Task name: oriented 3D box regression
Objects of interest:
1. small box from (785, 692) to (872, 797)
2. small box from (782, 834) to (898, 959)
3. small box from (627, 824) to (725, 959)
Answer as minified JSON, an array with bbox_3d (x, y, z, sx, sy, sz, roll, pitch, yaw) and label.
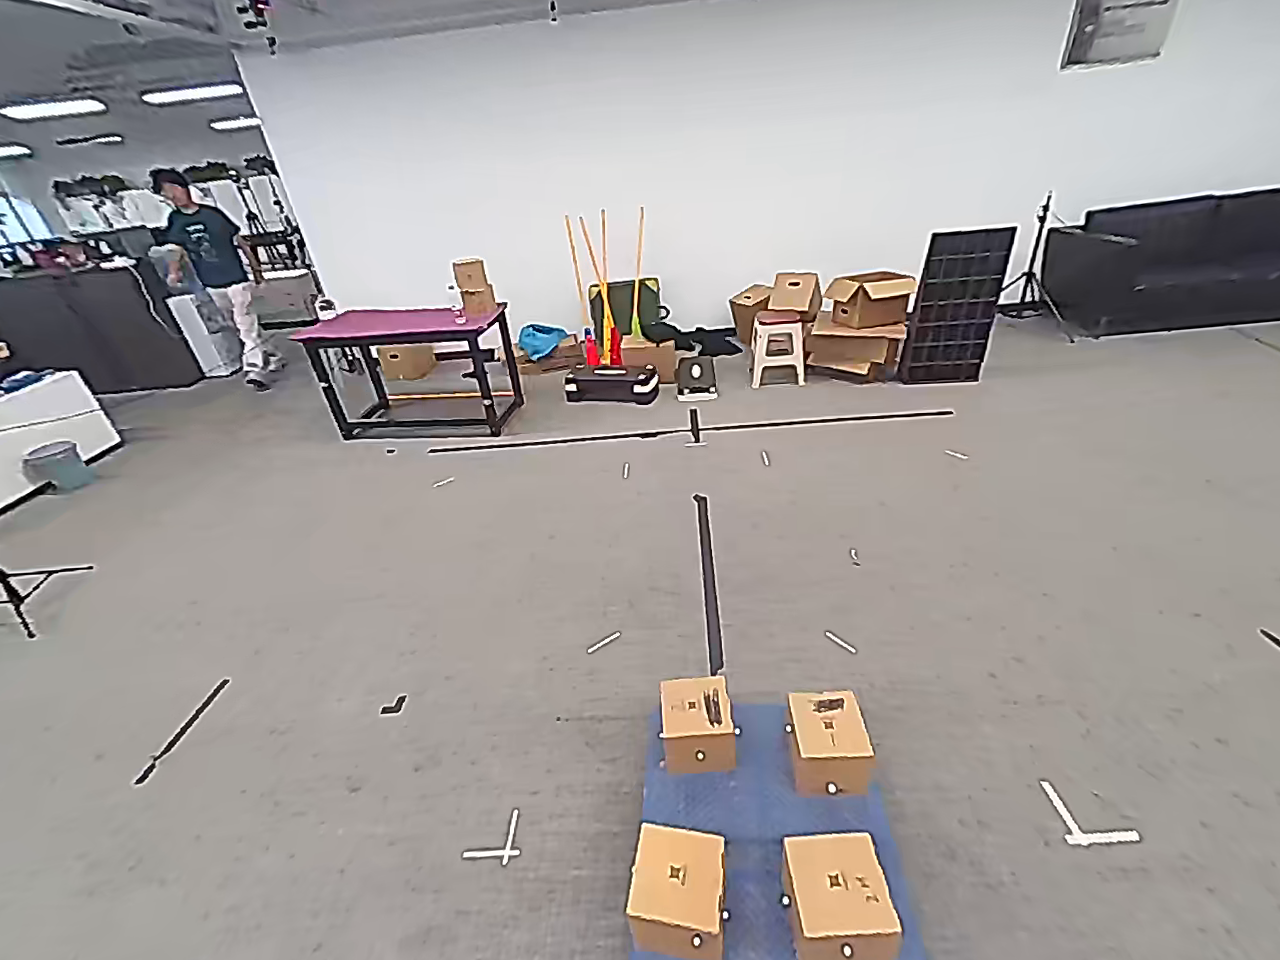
[{"bbox_3d":[0.461,0.658,1.350,0.168,0.176,0.179,-4,32,5],"label":"small box"},{"bbox_3d":[0.384,0.836,1.072,0.179,0.176,0.168,-5,31,3],"label":"small box"},{"bbox_3d":[0.081,0.849,1.111,0.179,0.176,0.168,2,32,11],"label":"small box"}]
